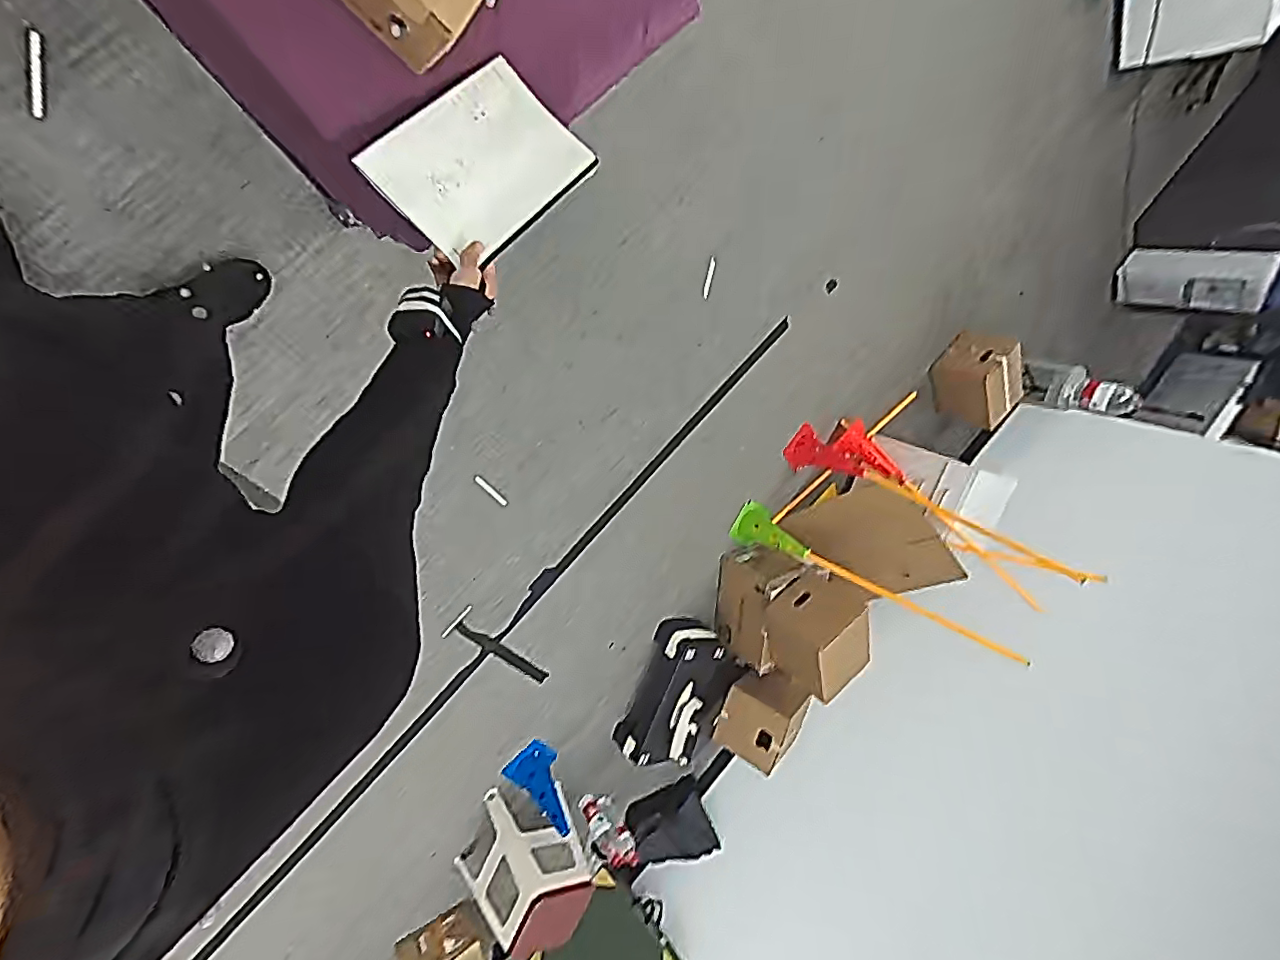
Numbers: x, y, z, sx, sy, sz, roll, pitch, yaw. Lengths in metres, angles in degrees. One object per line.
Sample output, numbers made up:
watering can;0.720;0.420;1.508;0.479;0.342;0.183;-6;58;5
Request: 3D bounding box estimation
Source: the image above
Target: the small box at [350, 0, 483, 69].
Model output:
small box;-0.246;-0.596;0.583;0.168;0.176;0.179;33;89;-41
